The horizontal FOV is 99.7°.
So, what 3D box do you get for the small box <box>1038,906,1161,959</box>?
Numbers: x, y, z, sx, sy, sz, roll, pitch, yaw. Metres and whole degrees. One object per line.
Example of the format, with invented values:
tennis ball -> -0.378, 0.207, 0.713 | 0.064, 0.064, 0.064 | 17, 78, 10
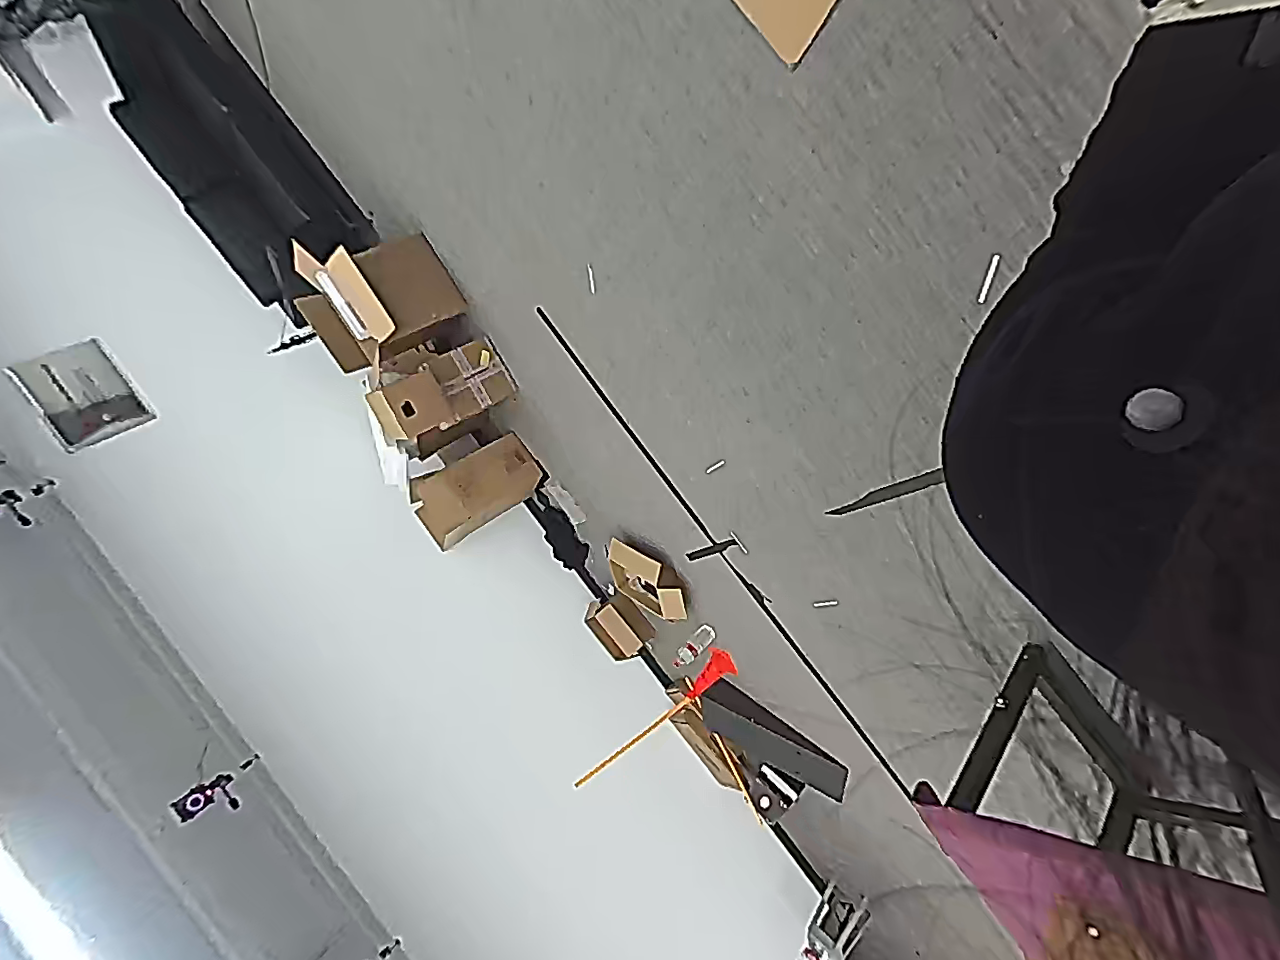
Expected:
small box -> 0.973, 1.047, 1.115 | 0.179, 0.176, 0.168 | 55, 150, -2
